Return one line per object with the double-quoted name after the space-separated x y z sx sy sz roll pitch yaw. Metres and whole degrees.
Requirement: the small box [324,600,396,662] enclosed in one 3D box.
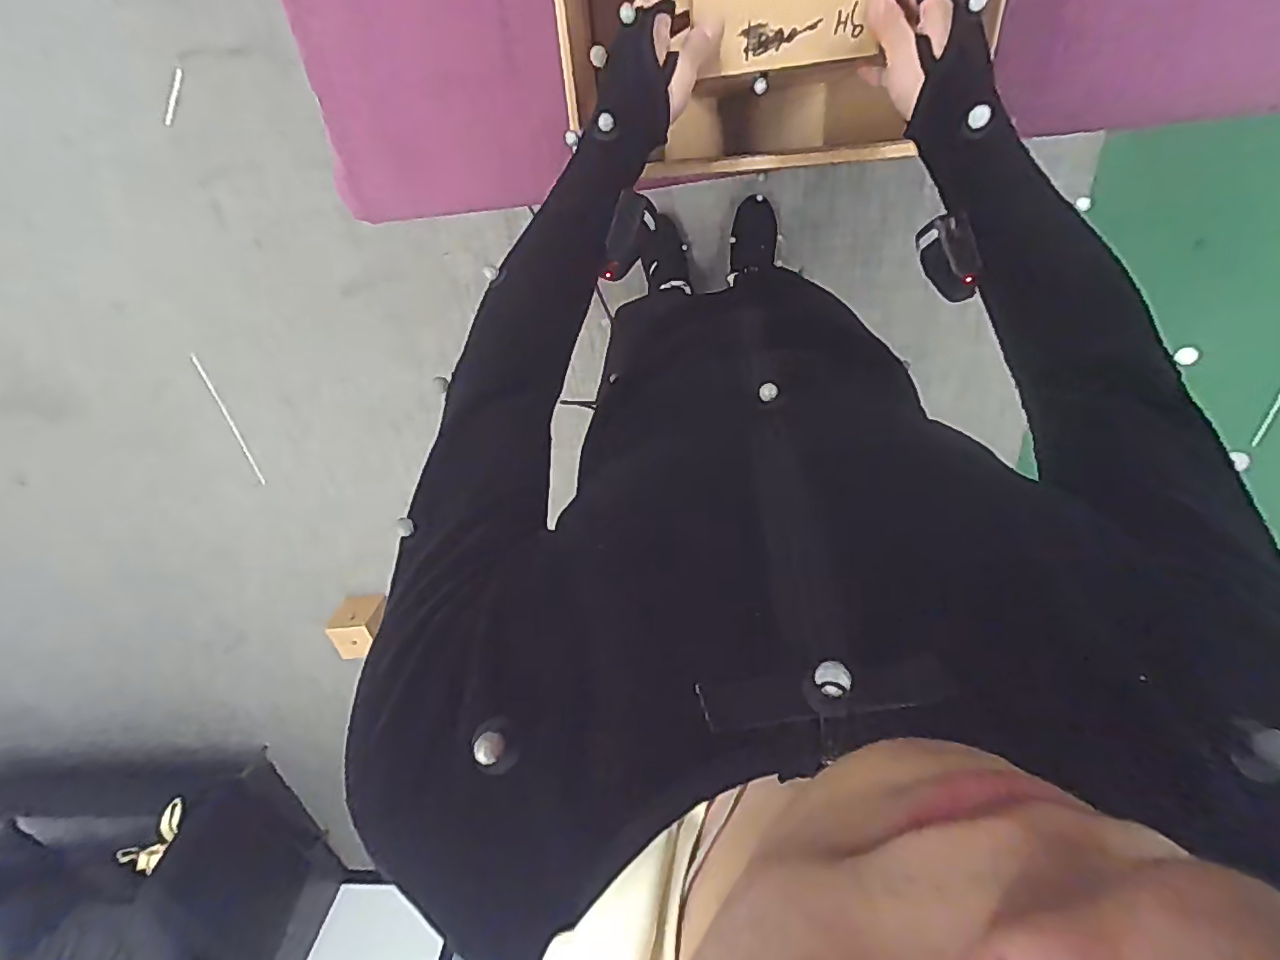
-1.093 0.591 2.131 0.179 0.176 0.168 -7 119 9 "small box"
